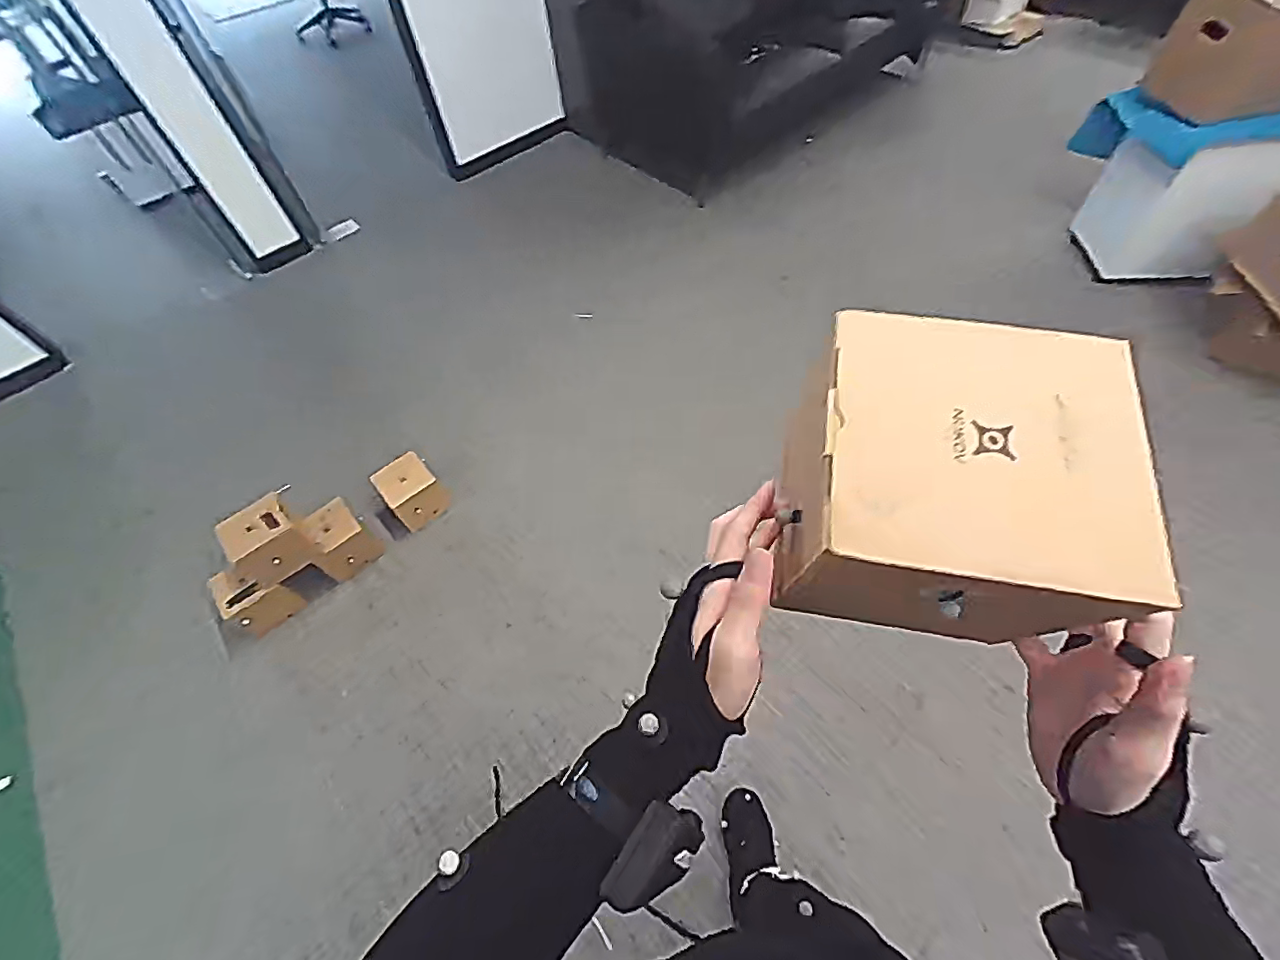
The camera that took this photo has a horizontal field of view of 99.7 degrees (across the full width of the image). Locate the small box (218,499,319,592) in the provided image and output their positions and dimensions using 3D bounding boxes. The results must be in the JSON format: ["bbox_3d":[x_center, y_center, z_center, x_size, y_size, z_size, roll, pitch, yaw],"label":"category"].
[{"bbox_3d":[-1.084,0.197,1.596,0.179,0.176,0.168,-36,60,-19],"label":"small box"}]

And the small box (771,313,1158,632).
[{"bbox_3d":[0.196,0.006,0.388,0.179,0.176,0.168,7,68,7],"label":"small box"}]

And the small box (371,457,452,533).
[{"bbox_3d":[-0.781,0.060,1.865,0.168,0.176,0.179,-38,60,-19],"label":"small box"}]
